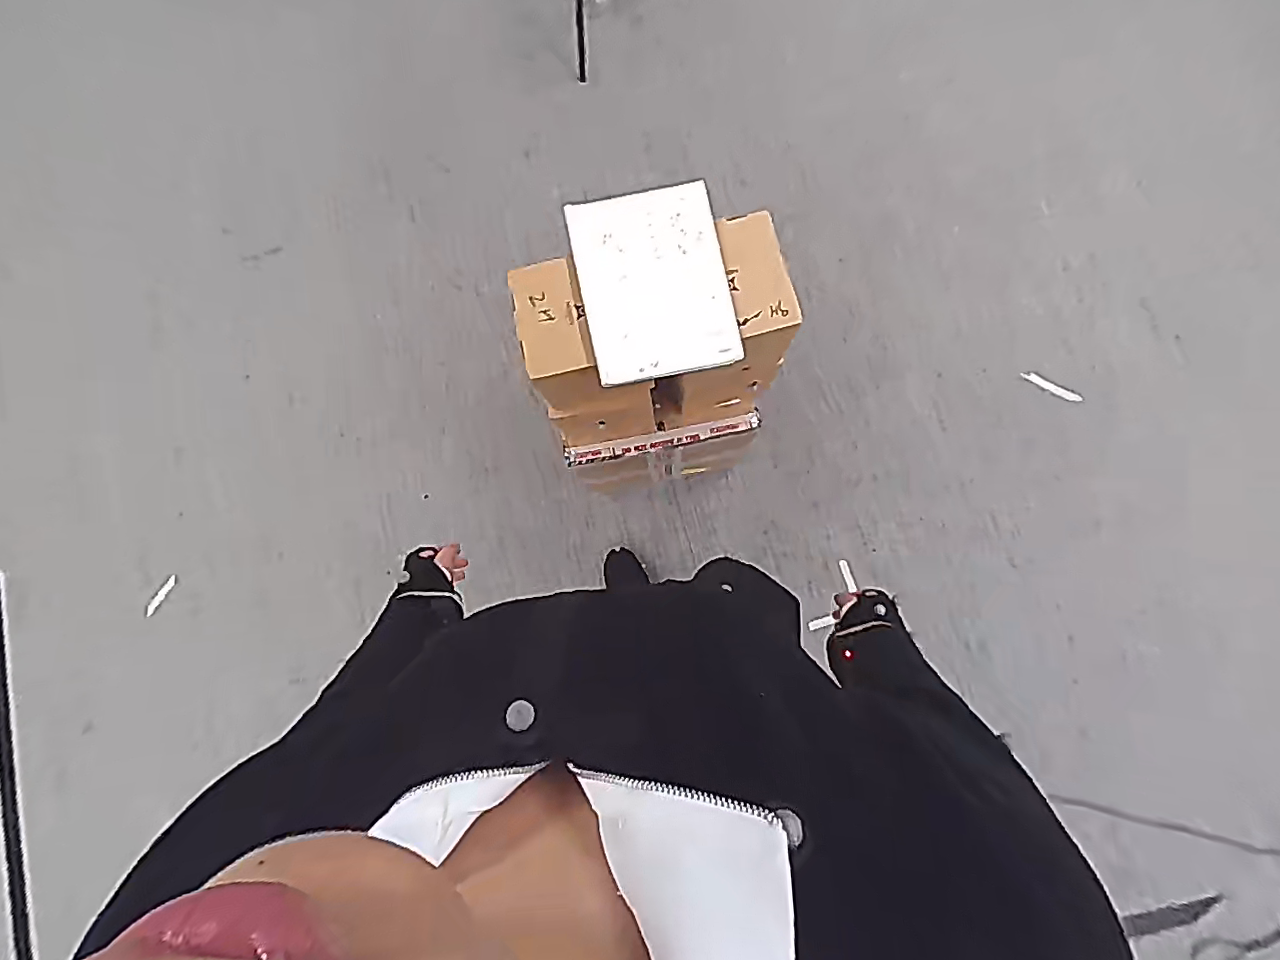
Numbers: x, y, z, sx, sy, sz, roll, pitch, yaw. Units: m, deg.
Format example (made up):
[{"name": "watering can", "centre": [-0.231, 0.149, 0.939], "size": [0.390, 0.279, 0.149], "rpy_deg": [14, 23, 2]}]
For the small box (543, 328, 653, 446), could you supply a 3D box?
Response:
[{"name": "small box", "centre": [-0.070, -0.166, 1.010], "size": [0.179, 0.176, 0.168], "rpy_deg": [-8, 83, 4]}]

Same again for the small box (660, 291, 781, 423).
[{"name": "small box", "centre": [0.139, -0.220, 1.005], "size": [0.179, 0.176, 0.168], "rpy_deg": [-17, 82, 1]}]
